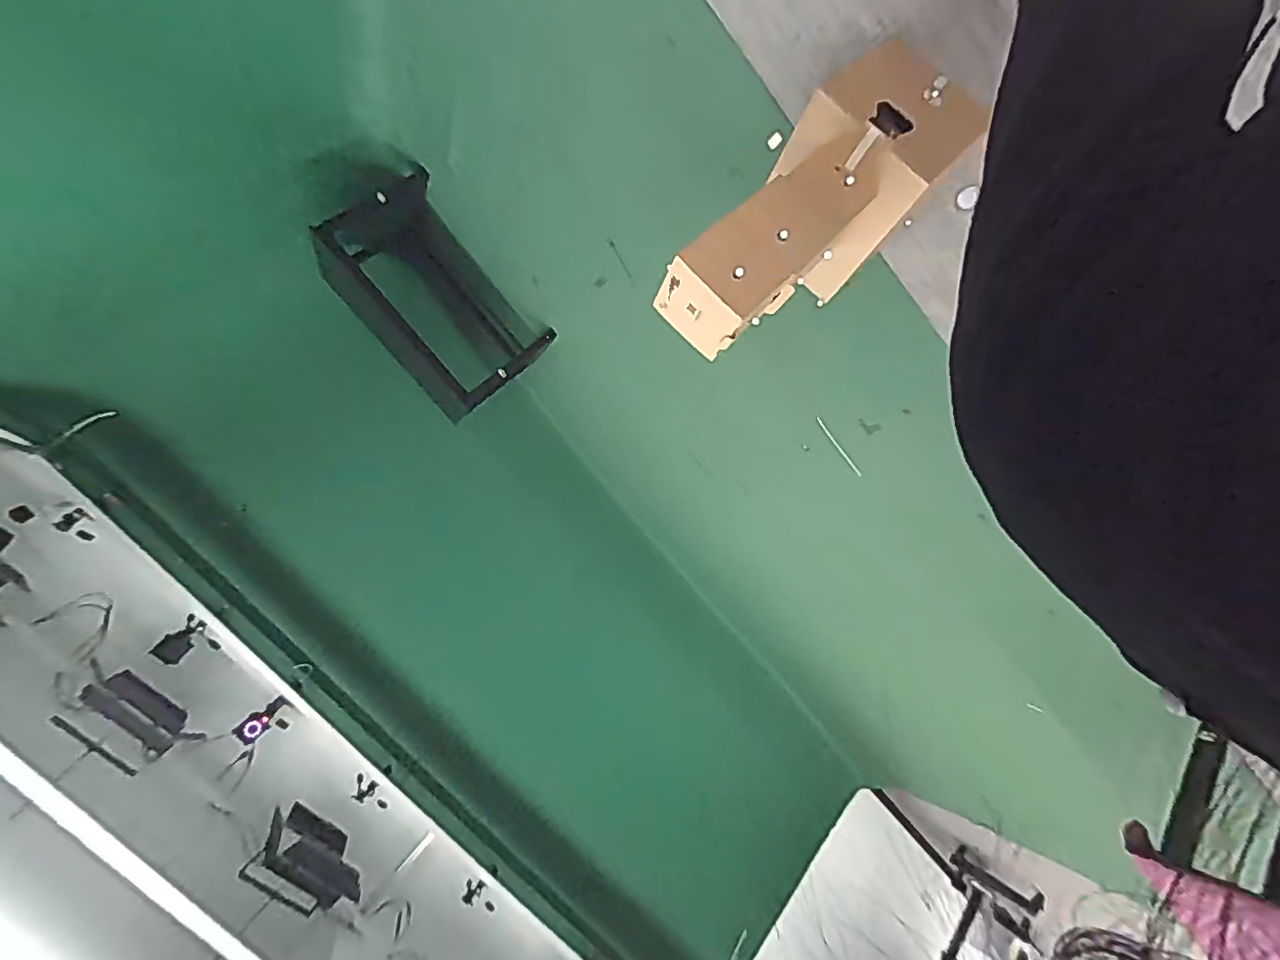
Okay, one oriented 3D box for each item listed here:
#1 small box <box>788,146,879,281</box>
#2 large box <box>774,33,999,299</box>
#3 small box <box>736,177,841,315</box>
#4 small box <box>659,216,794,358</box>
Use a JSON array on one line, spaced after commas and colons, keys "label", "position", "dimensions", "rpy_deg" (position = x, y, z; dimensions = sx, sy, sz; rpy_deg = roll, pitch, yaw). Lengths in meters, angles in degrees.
[{"label": "small box", "position": [0.395, -0.596, 1.214], "dimensions": [0.168, 0.176, 0.179], "rpy_deg": [44, 158, 1]}, {"label": "large box", "position": [0.553, -0.746, 1.328], "dimensions": [0.320, 0.320, 0.408], "rpy_deg": [45, 160, 5]}, {"label": "small box", "position": [0.286, -0.495, 1.145], "dimensions": [0.179, 0.176, 0.168], "rpy_deg": [45, 159, -1]}, {"label": "small box", "position": [0.174, -0.388, 1.089], "dimensions": [0.179, 0.176, 0.168], "rpy_deg": [43, 158, 0]}]
